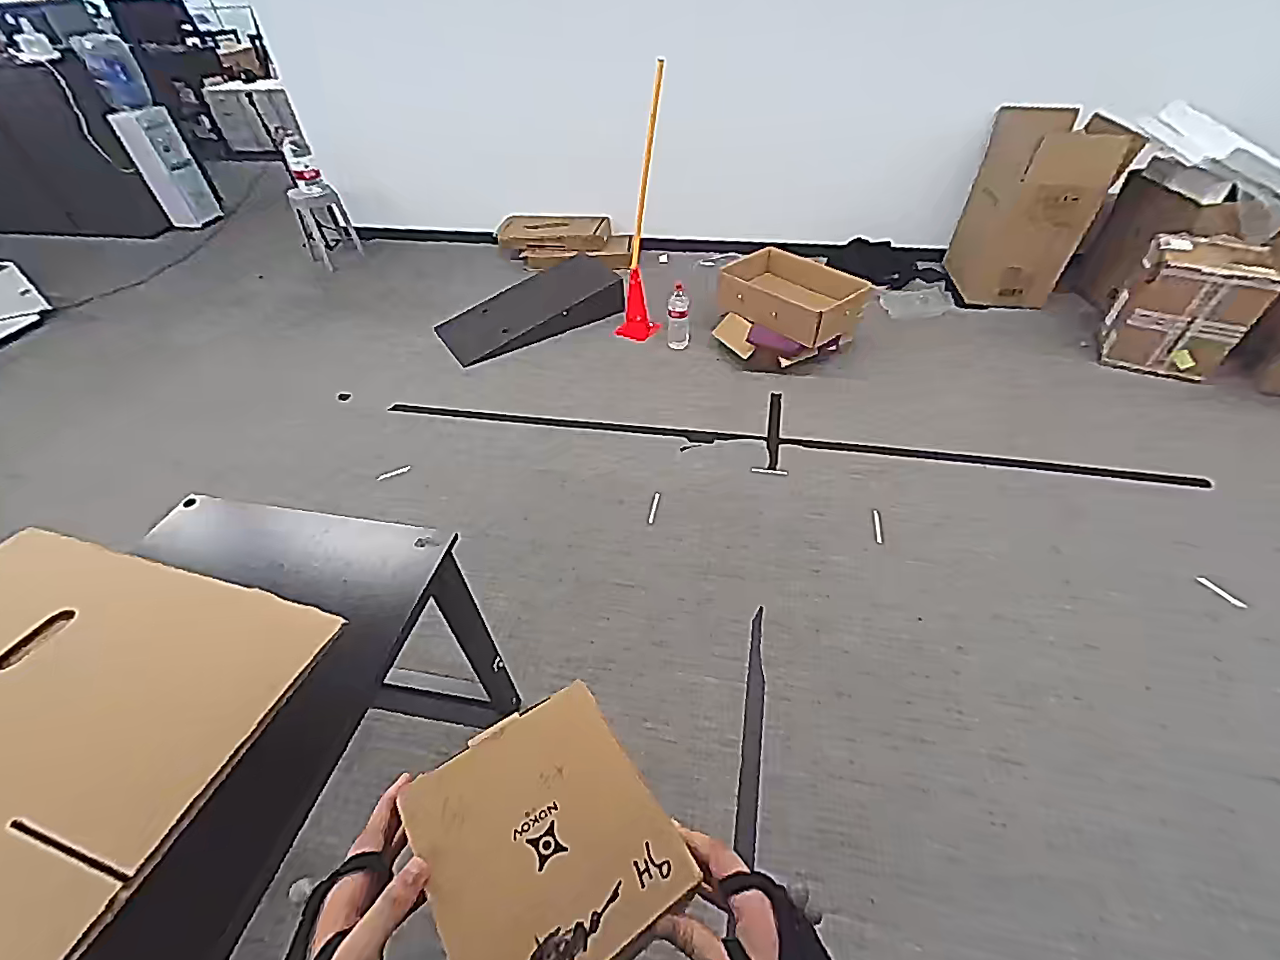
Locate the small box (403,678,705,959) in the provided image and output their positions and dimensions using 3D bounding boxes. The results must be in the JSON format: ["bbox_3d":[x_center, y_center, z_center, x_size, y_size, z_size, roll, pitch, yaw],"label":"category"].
[{"bbox_3d":[-0.069,0.311,0.450,0.168,0.176,0.179,-26,50,-24],"label":"small box"}]
